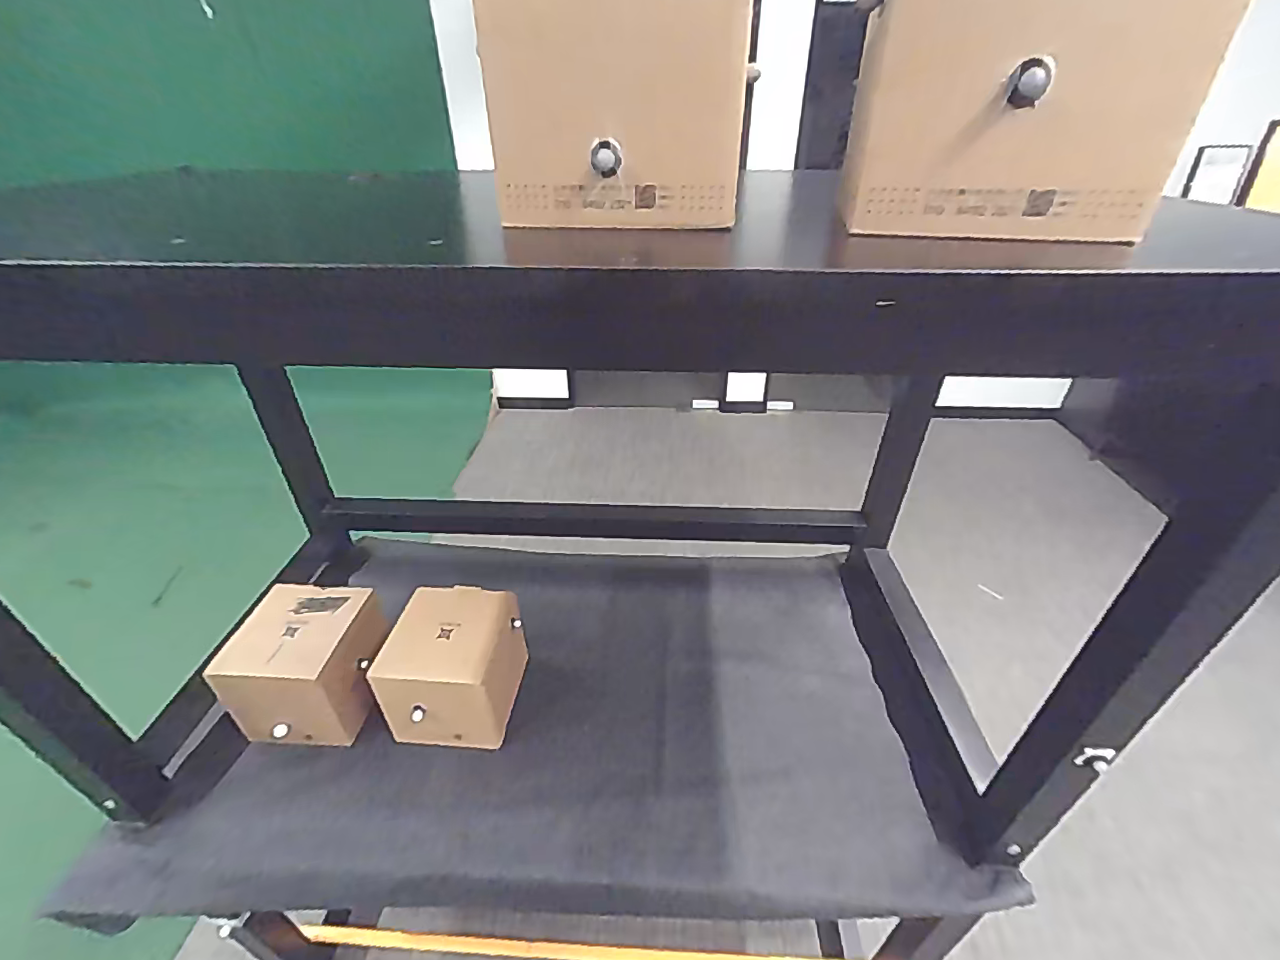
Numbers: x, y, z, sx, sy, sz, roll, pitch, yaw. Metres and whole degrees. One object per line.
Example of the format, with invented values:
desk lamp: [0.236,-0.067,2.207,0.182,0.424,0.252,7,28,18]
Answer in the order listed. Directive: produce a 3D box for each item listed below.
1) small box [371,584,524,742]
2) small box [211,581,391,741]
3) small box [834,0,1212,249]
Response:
small box: [-0.290,0.290,0.862,0.168,0.176,0.179,3,33,3]
small box: [-0.517,0.285,0.864,0.168,0.176,0.179,2,34,2]
small box: [0.236,-0.265,0.373,0.168,0.176,0.179,8,34,12]
